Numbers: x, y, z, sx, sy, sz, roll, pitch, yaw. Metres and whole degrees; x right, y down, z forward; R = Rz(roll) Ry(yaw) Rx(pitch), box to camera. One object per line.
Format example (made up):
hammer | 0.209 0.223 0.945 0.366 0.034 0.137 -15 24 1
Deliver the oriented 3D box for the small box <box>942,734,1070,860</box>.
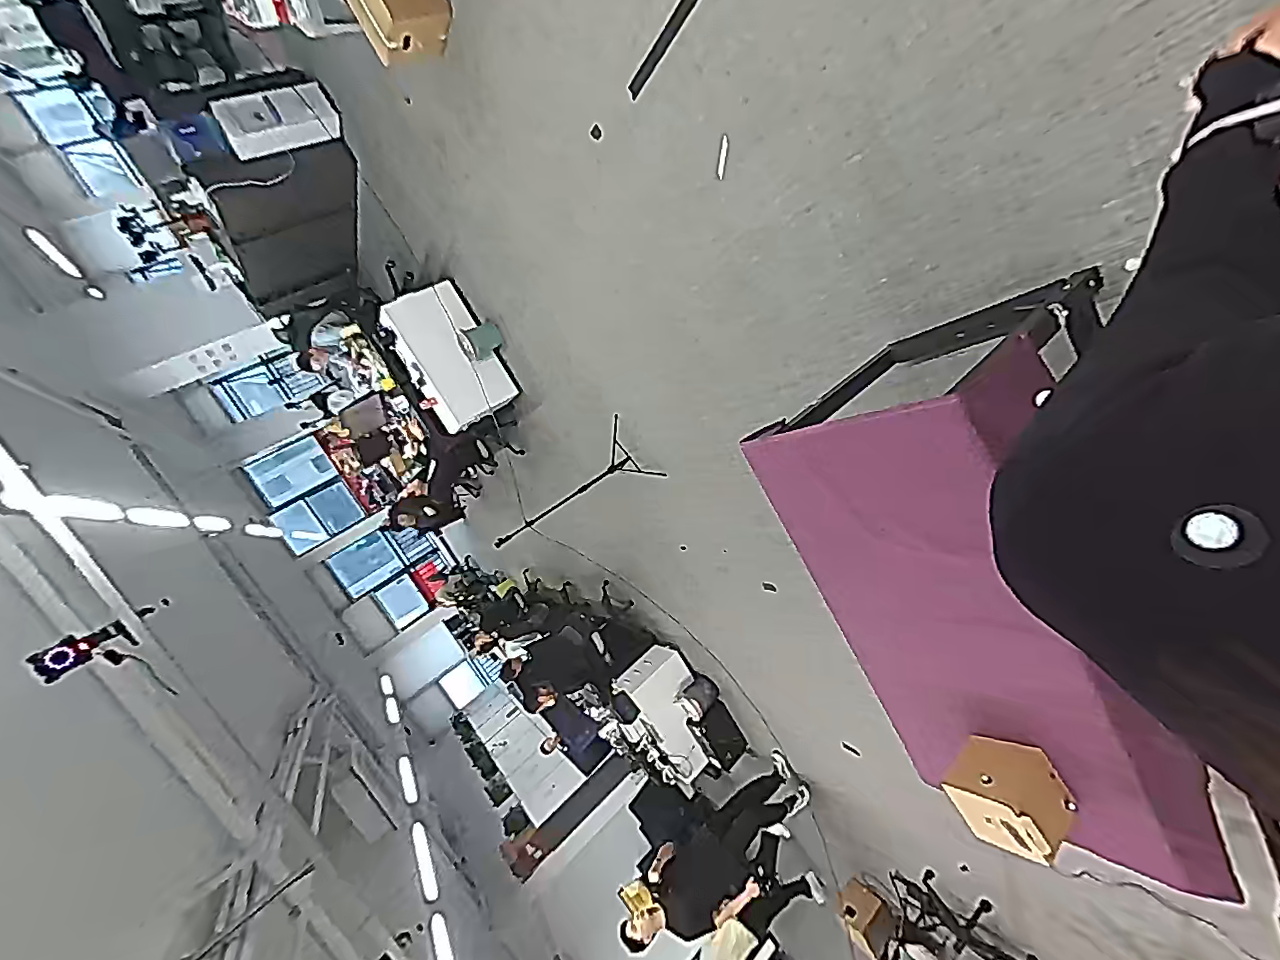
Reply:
small box | 0.867 0.731 1.273 0.168 0.176 0.179 56 155 -2
